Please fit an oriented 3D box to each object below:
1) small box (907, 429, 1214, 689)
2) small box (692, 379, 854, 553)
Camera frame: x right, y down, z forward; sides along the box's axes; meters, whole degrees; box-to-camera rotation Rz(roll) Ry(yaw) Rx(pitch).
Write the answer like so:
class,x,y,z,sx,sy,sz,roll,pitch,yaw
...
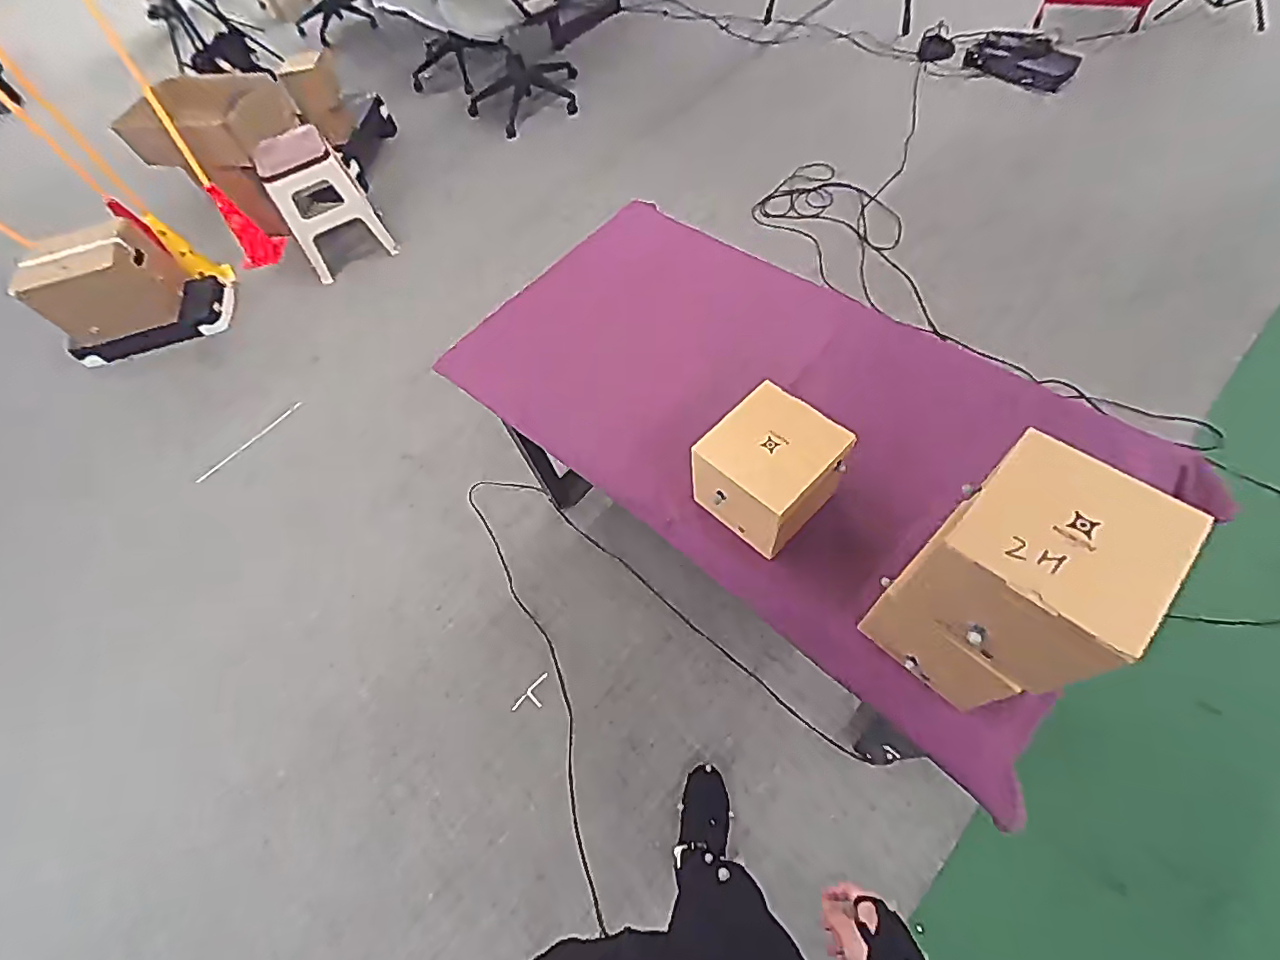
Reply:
class,x,y,z,sx,sy,sz,roll,pitch,yaw
small box,0.413,0.087,0.566,0.168,0.176,0.179,38,72,26
small box,0.202,-0.015,0.848,0.179,0.176,0.168,-42,63,-17
